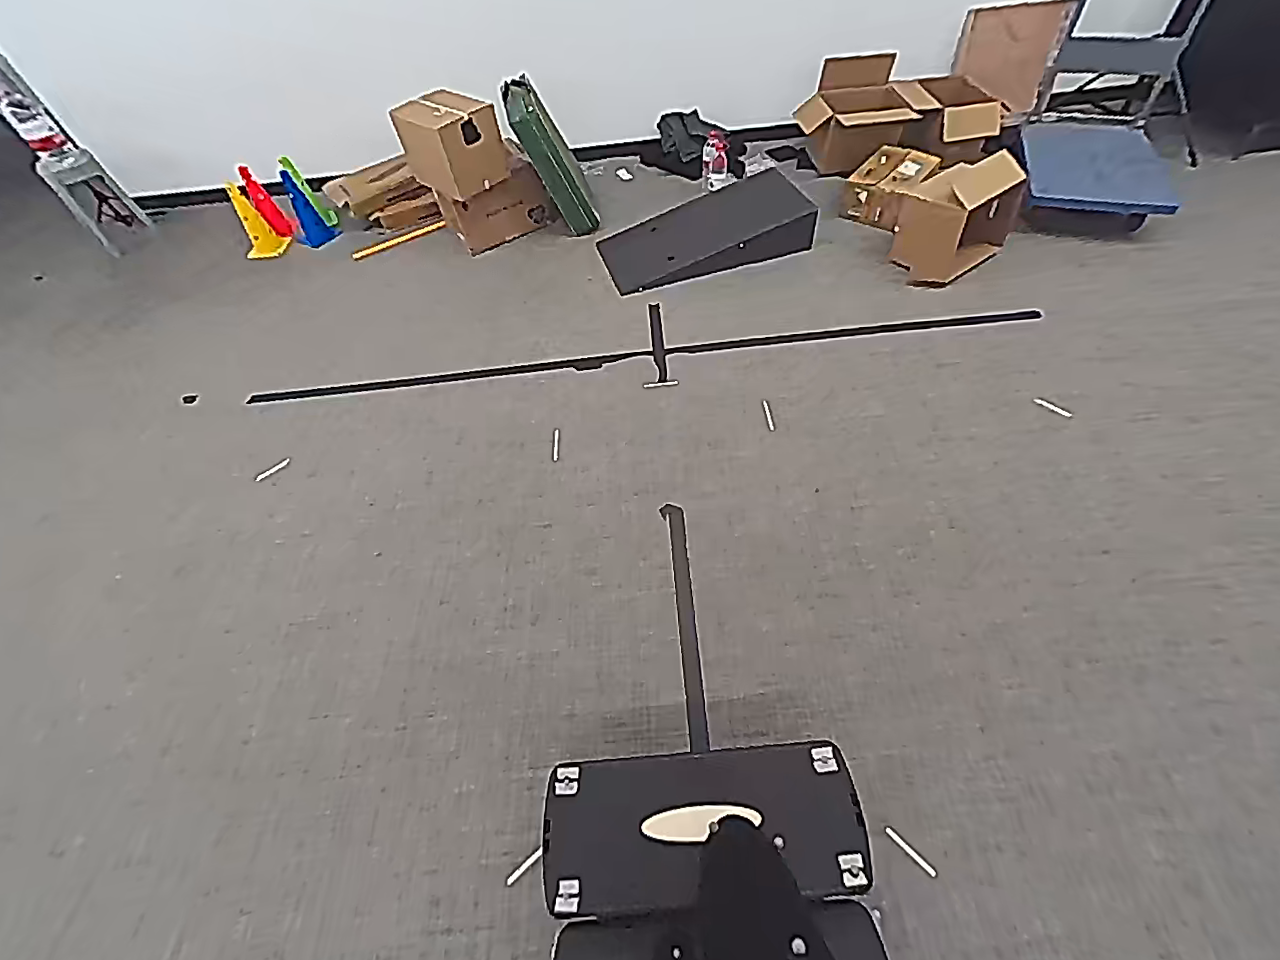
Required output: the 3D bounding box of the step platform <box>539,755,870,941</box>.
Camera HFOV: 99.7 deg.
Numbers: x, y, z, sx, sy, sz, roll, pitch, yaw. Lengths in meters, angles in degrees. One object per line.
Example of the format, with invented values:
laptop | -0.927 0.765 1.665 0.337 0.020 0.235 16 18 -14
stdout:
step platform | 0.126 0.789 1.175 0.684 0.204 0.286 -6 54 0
